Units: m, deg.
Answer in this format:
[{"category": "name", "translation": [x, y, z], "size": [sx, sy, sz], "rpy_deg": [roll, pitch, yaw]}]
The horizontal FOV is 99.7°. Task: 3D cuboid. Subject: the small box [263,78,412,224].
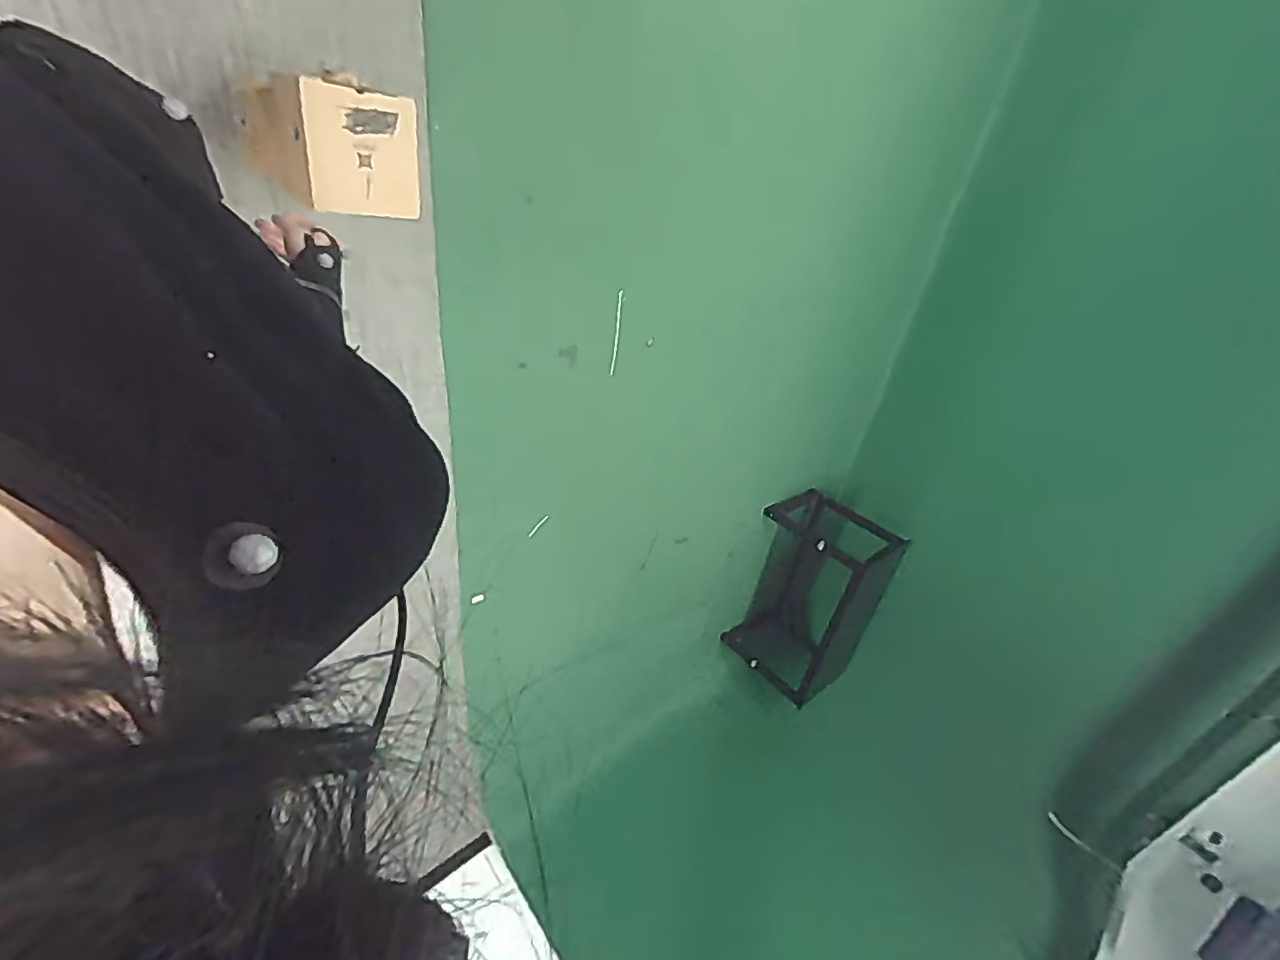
[{"category": "small box", "translation": [-0.492, -0.535, 0.885], "size": [0.168, 0.176, 0.179], "rpy_deg": [-17, 131, -40]}]
